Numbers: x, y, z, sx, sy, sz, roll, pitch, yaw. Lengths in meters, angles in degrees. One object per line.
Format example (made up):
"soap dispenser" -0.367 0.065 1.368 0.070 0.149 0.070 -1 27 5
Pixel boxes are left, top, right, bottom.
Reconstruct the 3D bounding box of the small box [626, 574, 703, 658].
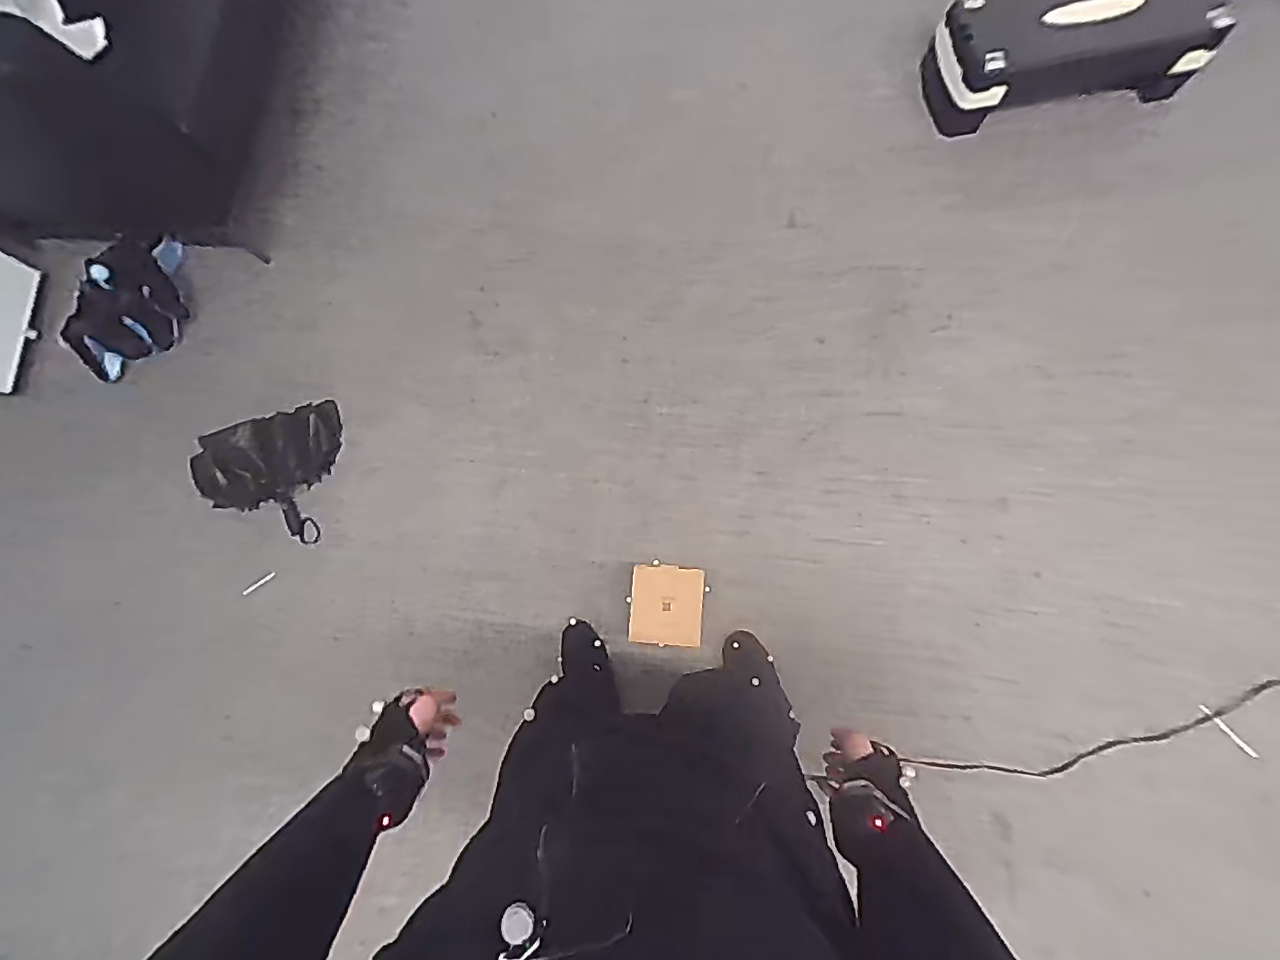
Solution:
"small box" 0.064 0.323 1.309 0.168 0.176 0.179 3 79 7
